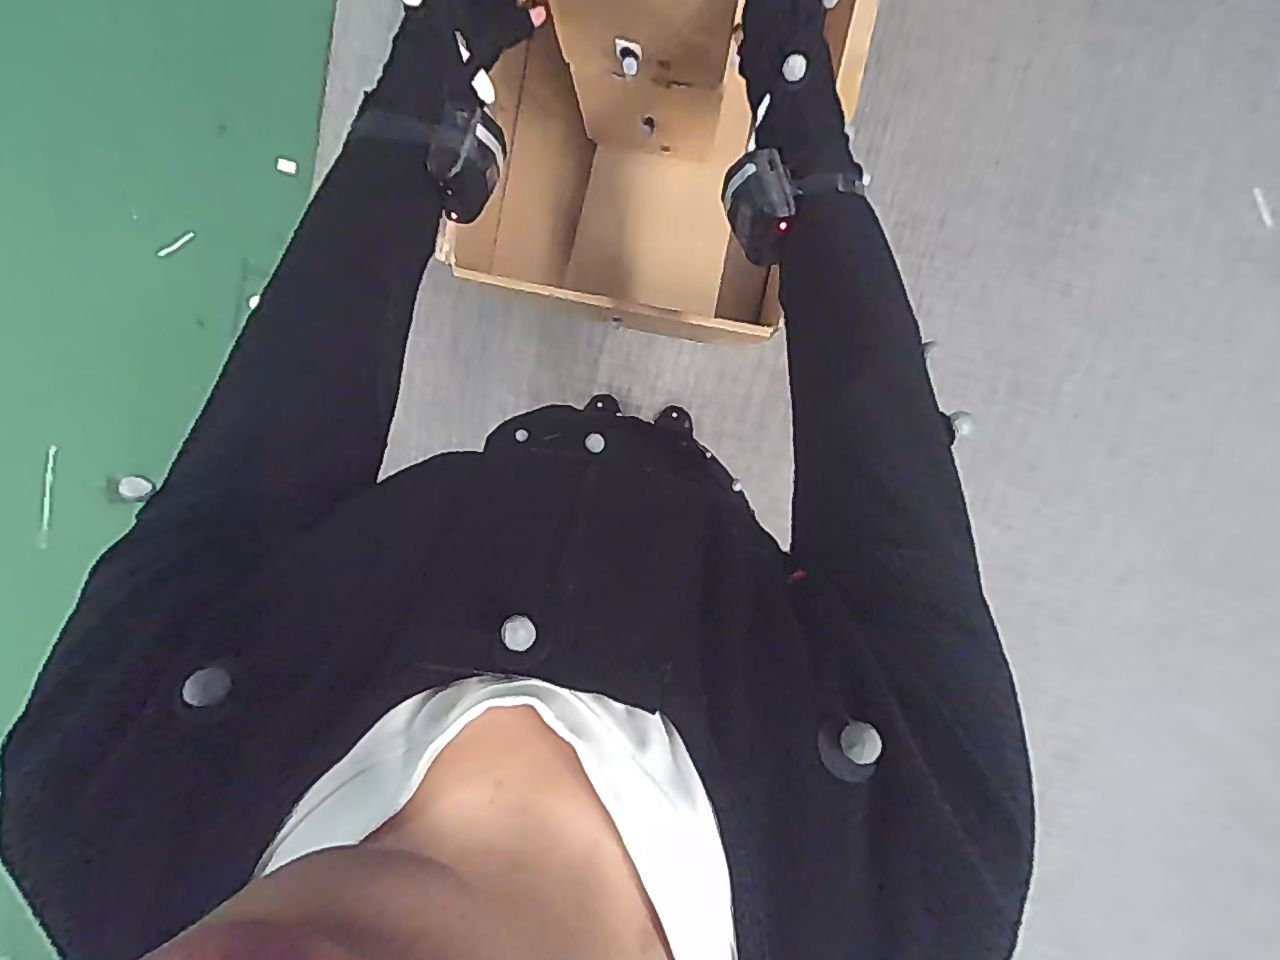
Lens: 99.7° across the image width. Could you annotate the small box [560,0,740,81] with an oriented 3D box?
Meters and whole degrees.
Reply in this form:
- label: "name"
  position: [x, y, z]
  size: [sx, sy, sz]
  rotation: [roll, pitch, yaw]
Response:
- label: "small box"
  position: [0.016, -0.492, 0.460]
  size: [0.168, 0.176, 0.179]
  rotation: [9, 99, 2]
